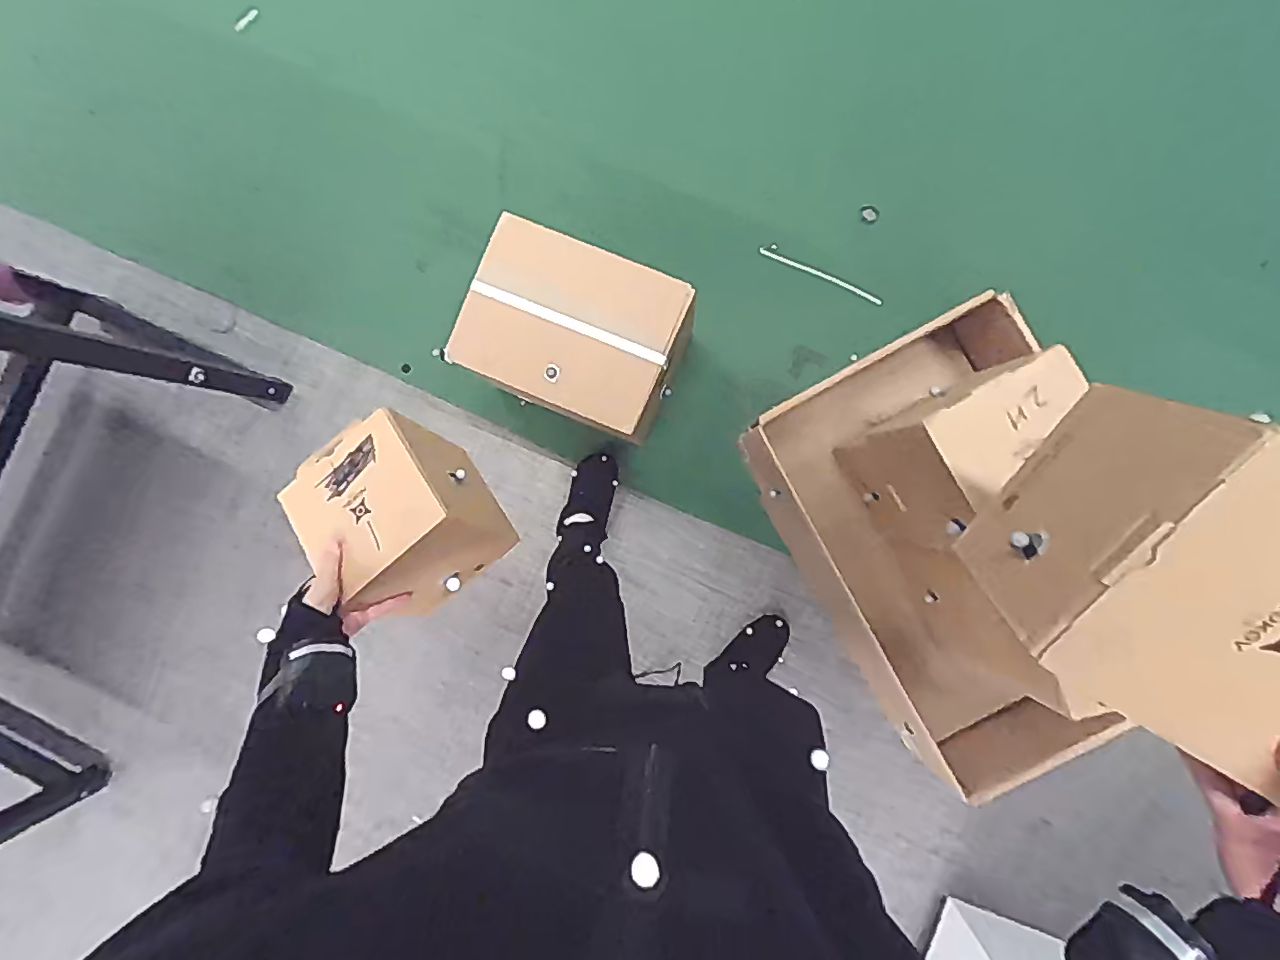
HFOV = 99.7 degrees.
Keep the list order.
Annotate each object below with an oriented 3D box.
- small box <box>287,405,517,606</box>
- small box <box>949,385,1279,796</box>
[{"bbox_3d":[-0.291,0.043,0.686,0.168,0.176,0.179,-39,68,2],"label":"small box"},{"bbox_3d":[0.348,0.050,0.359,0.179,0.176,0.168,31,111,3],"label":"small box"}]
